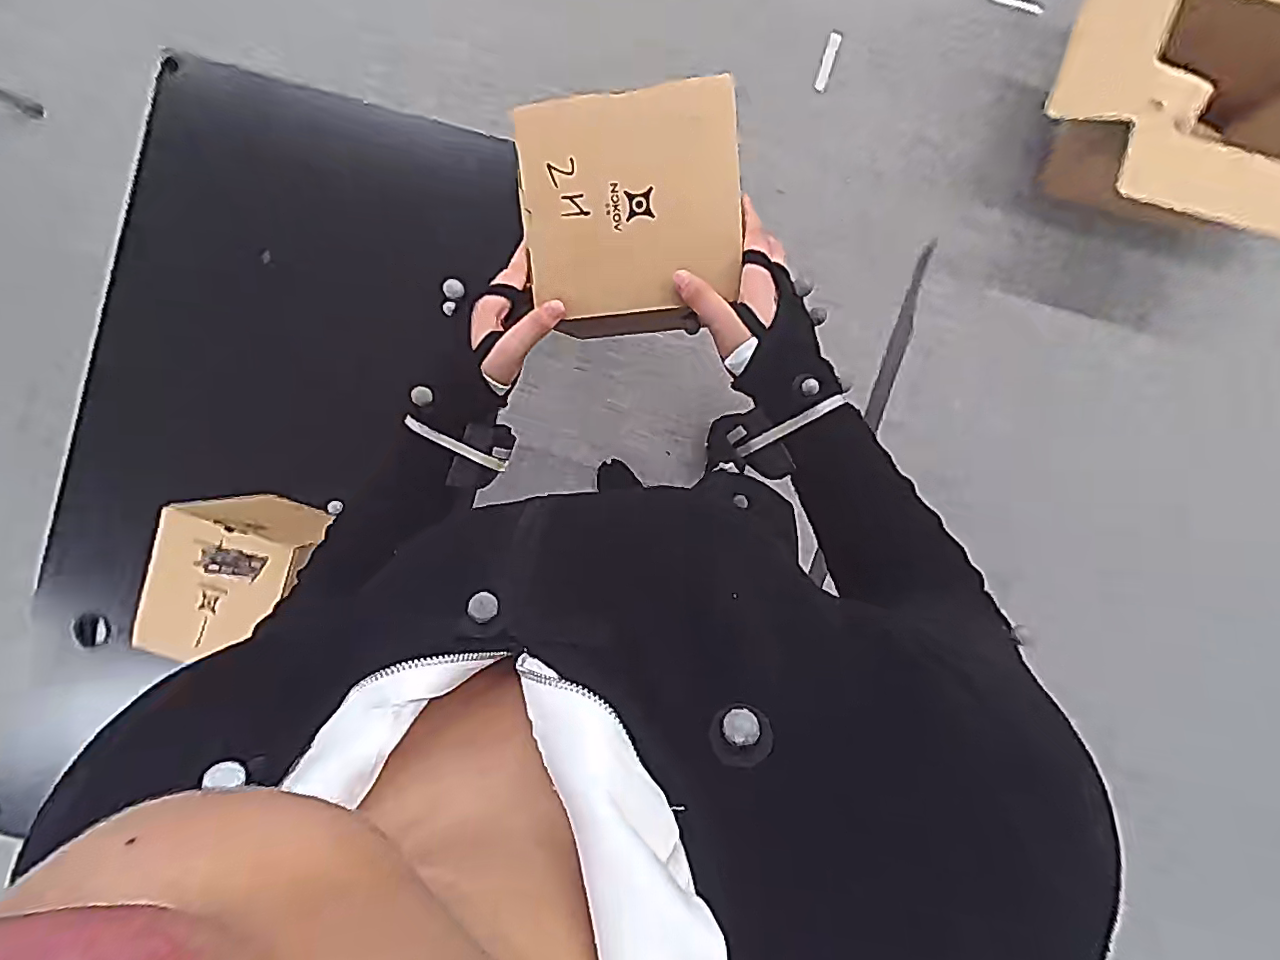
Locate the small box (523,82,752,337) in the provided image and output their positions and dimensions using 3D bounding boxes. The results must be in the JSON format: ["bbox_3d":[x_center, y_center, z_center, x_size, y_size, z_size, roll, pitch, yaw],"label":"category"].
[{"bbox_3d":[0.007,-0.229,0.505,0.179,0.176,0.168,-2,99,8],"label":"small box"}]

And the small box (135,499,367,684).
[{"bbox_3d":[-0.495,0.132,0.716,0.168,0.176,0.179,17,94,2],"label":"small box"}]
